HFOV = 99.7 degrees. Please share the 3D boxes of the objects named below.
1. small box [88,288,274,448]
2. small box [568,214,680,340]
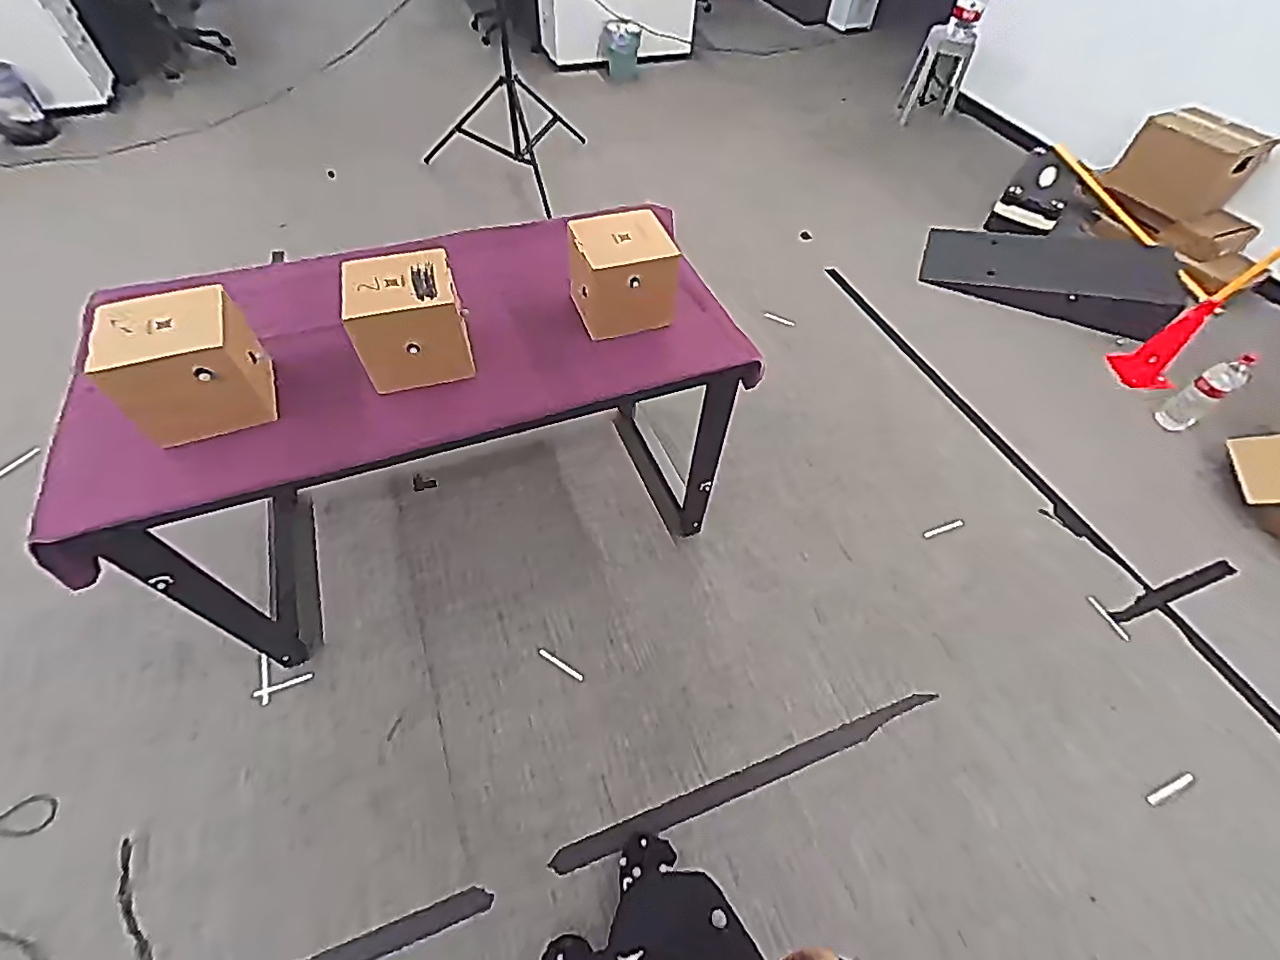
[{"bbox_3d":[-0.726,-0.180,0.882,0.179,0.176,0.168,-19,56,-16],"label":"small box"},{"bbox_3d":[-0.036,-0.402,1.084,0.179,0.176,0.168,-15,57,-14],"label":"small box"}]
